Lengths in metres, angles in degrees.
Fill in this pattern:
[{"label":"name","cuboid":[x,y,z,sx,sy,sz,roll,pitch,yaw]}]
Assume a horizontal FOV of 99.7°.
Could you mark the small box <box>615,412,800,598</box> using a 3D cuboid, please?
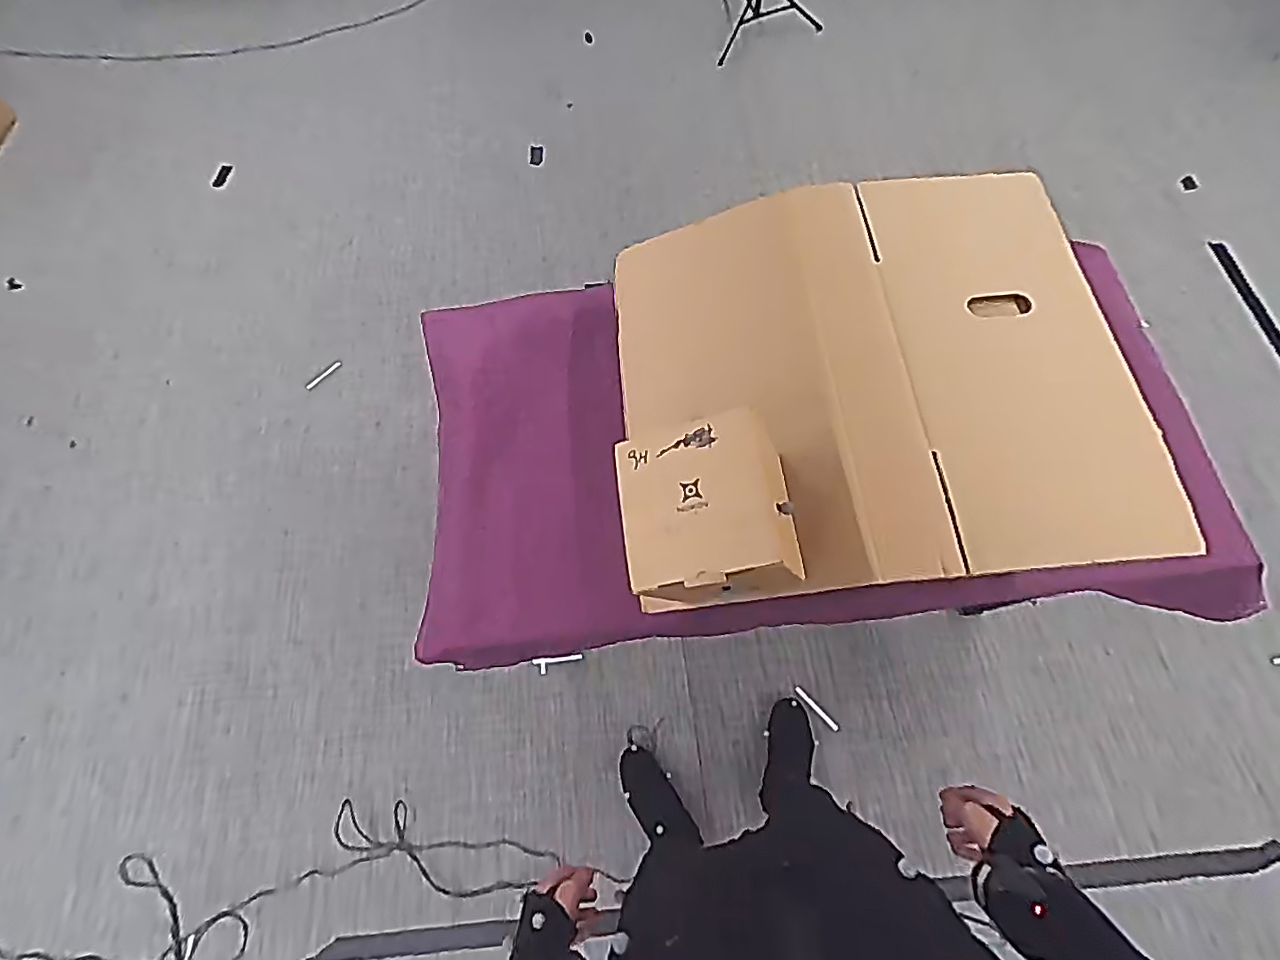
[{"label":"small box","cuboid":[0.087,0.044,0.651,0.168,0.176,0.179,-14,70,20]}]
